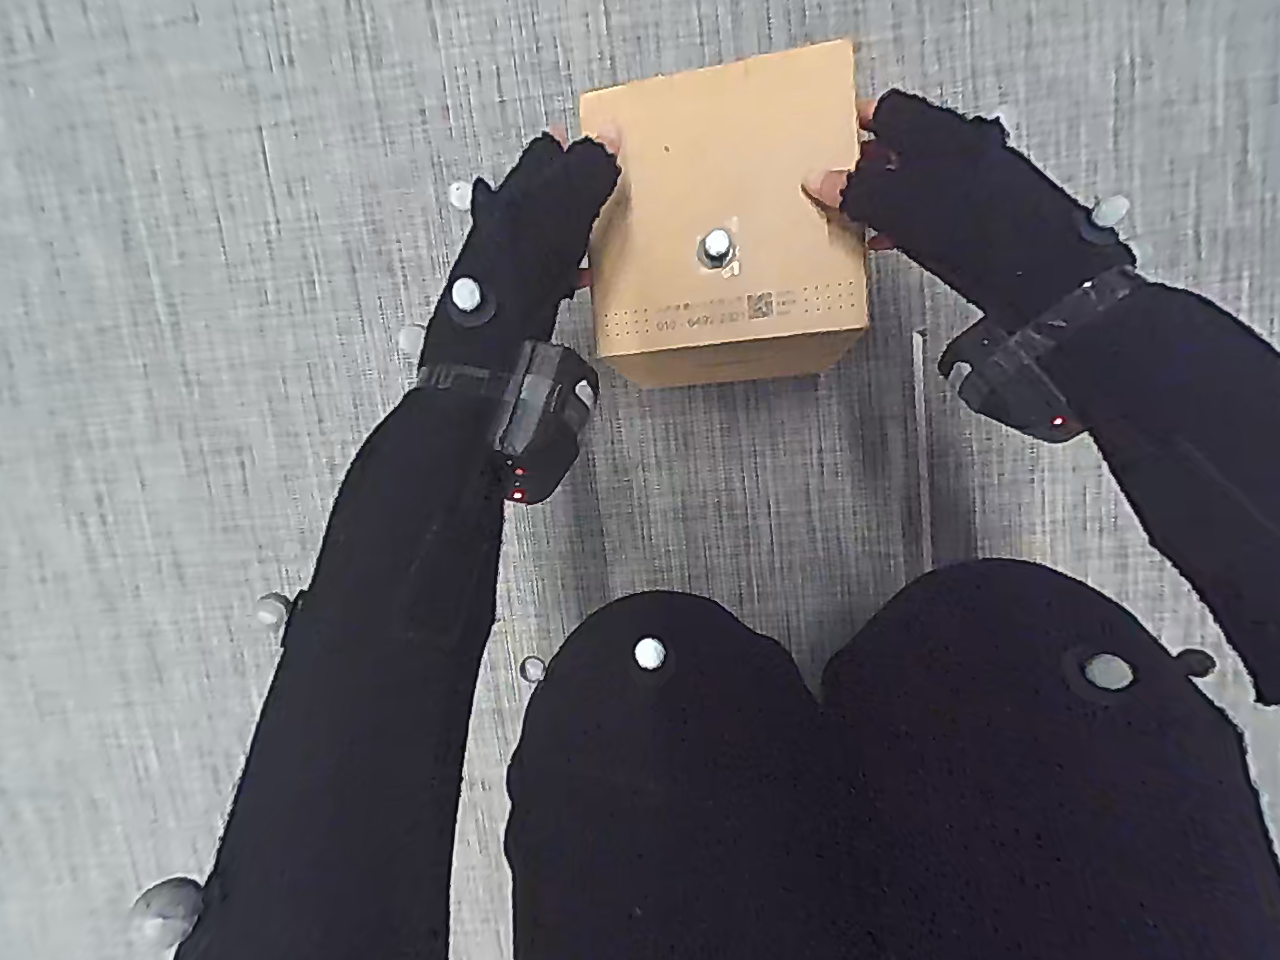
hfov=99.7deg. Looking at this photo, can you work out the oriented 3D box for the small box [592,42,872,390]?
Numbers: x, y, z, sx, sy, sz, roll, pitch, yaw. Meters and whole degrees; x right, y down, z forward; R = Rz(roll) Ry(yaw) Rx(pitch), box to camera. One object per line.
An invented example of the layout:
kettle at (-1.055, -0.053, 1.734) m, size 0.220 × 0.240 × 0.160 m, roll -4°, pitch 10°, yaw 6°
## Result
small box at (0.069, -0.167, 0.410) m, size 0.168 × 0.179 × 0.176 m, roll -4°, pitch 90°, yaw 12°
